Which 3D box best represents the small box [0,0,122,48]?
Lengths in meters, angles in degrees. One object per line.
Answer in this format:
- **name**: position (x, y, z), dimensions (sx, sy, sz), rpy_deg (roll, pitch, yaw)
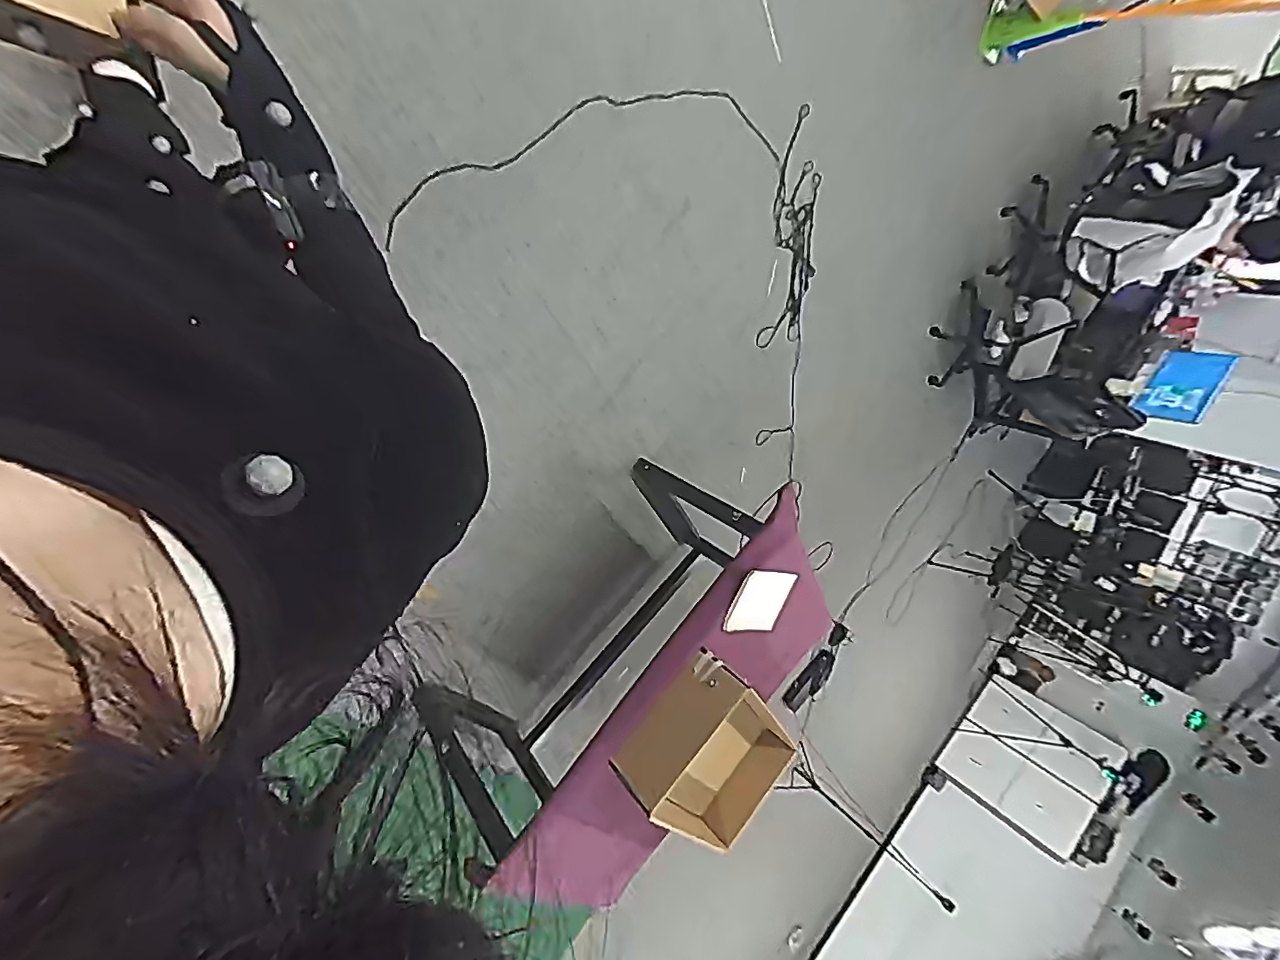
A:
- **small box**: position (-0.460, -0.401, 0.330), dimensions (0.179, 0.176, 0.168), rpy_deg (-11, 117, -51)
